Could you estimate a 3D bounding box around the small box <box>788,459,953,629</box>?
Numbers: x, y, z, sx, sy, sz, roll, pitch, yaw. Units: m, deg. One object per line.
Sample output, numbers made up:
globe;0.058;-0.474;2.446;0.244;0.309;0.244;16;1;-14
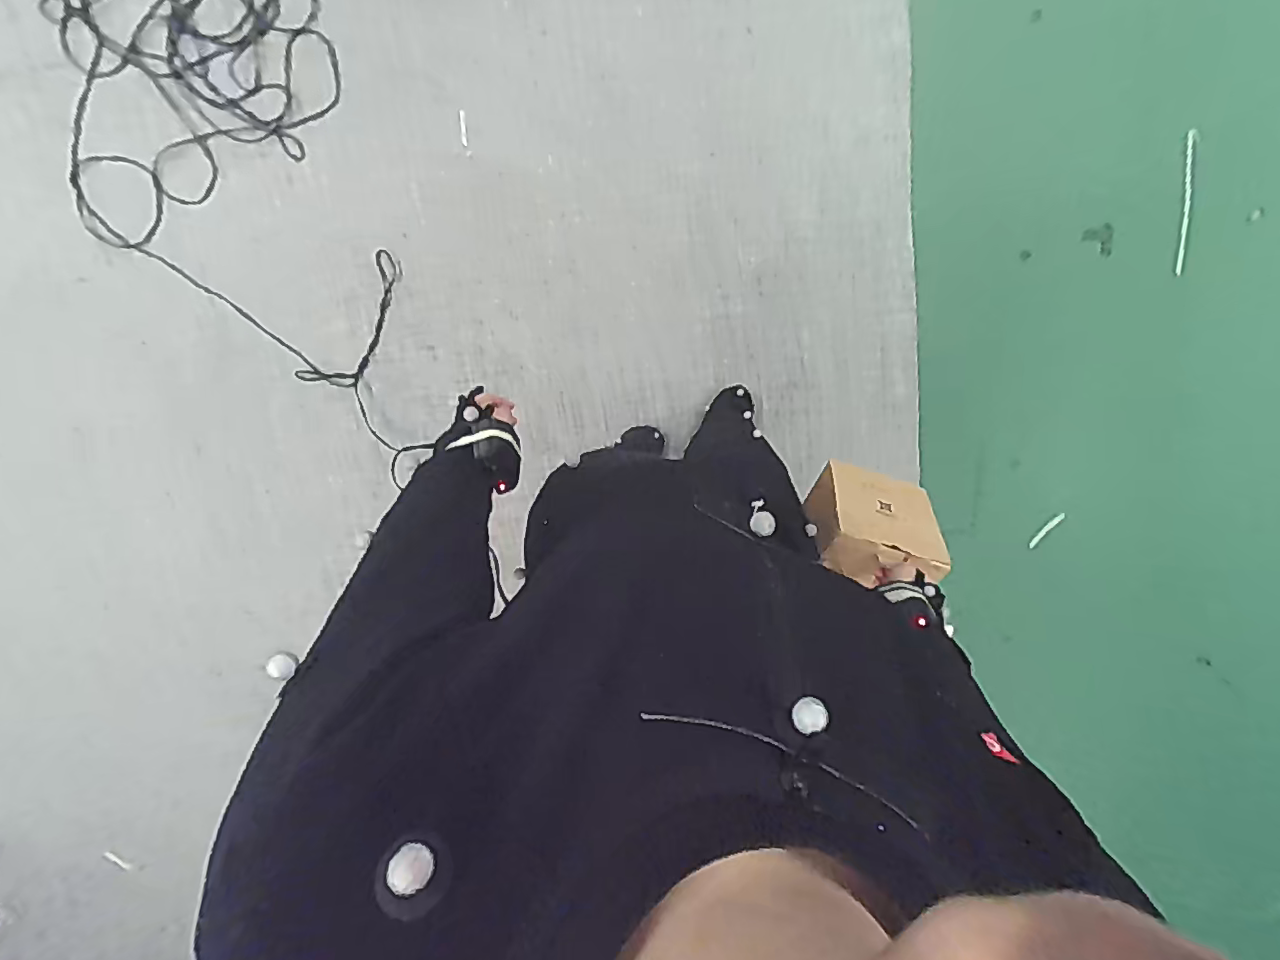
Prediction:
small box;0.341;0.102;0.842;0.168;0.179;0.176;17;129;-1
